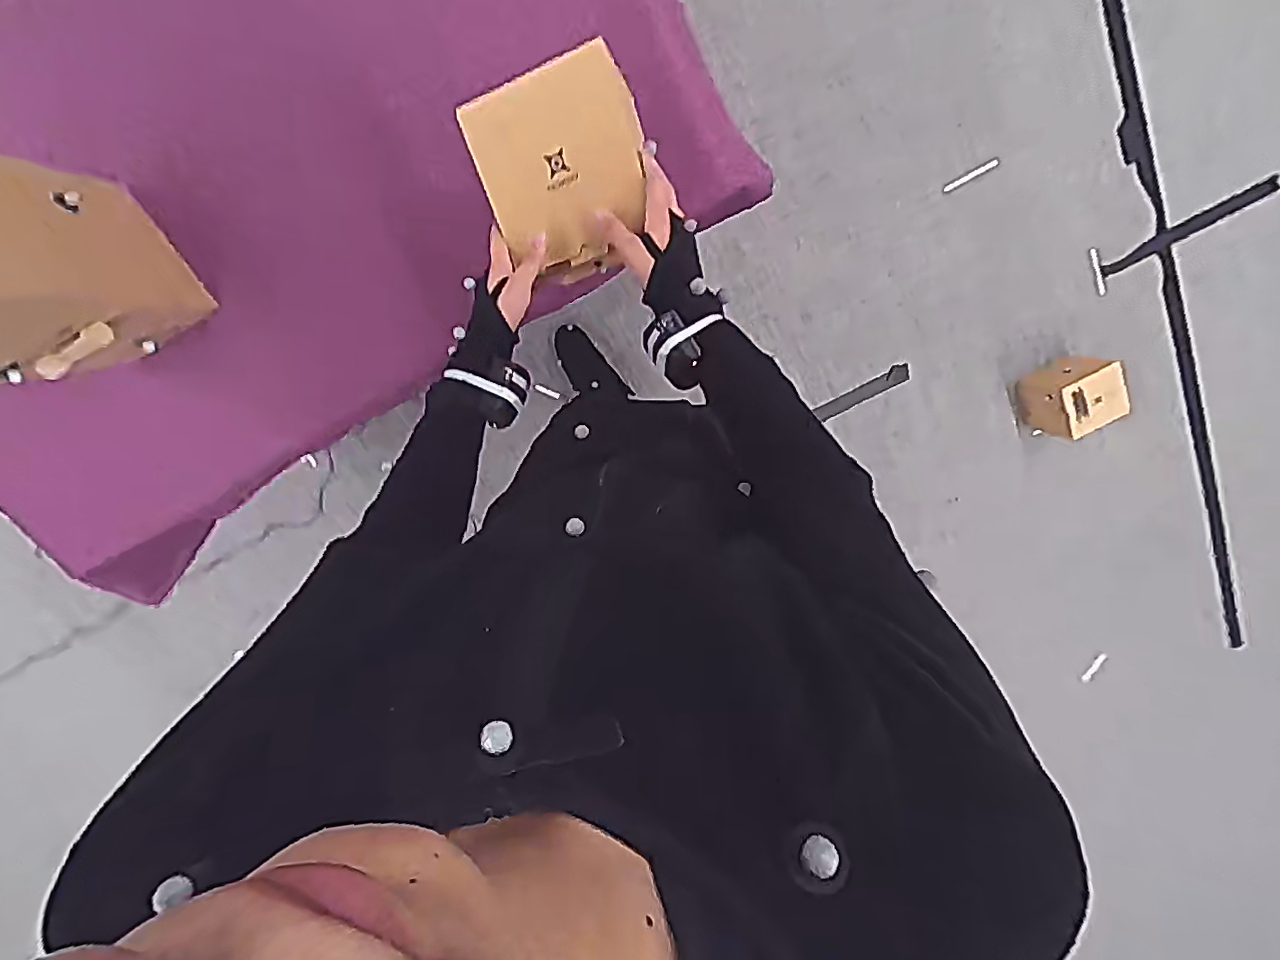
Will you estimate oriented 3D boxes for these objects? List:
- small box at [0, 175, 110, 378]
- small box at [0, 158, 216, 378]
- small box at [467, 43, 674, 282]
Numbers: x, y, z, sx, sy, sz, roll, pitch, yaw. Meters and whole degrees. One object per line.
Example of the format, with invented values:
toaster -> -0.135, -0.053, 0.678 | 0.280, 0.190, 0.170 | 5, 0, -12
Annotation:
small box -> -0.680, -0.196, 0.505 | 0.168, 0.176, 0.179 | -33, 107, 6
small box -> -0.690, -0.246, 0.661 | 0.168, 0.176, 0.179 | -29, 108, 5
small box -> -0.065, -0.345, 0.631 | 0.168, 0.176, 0.179 | -16, 105, 13
